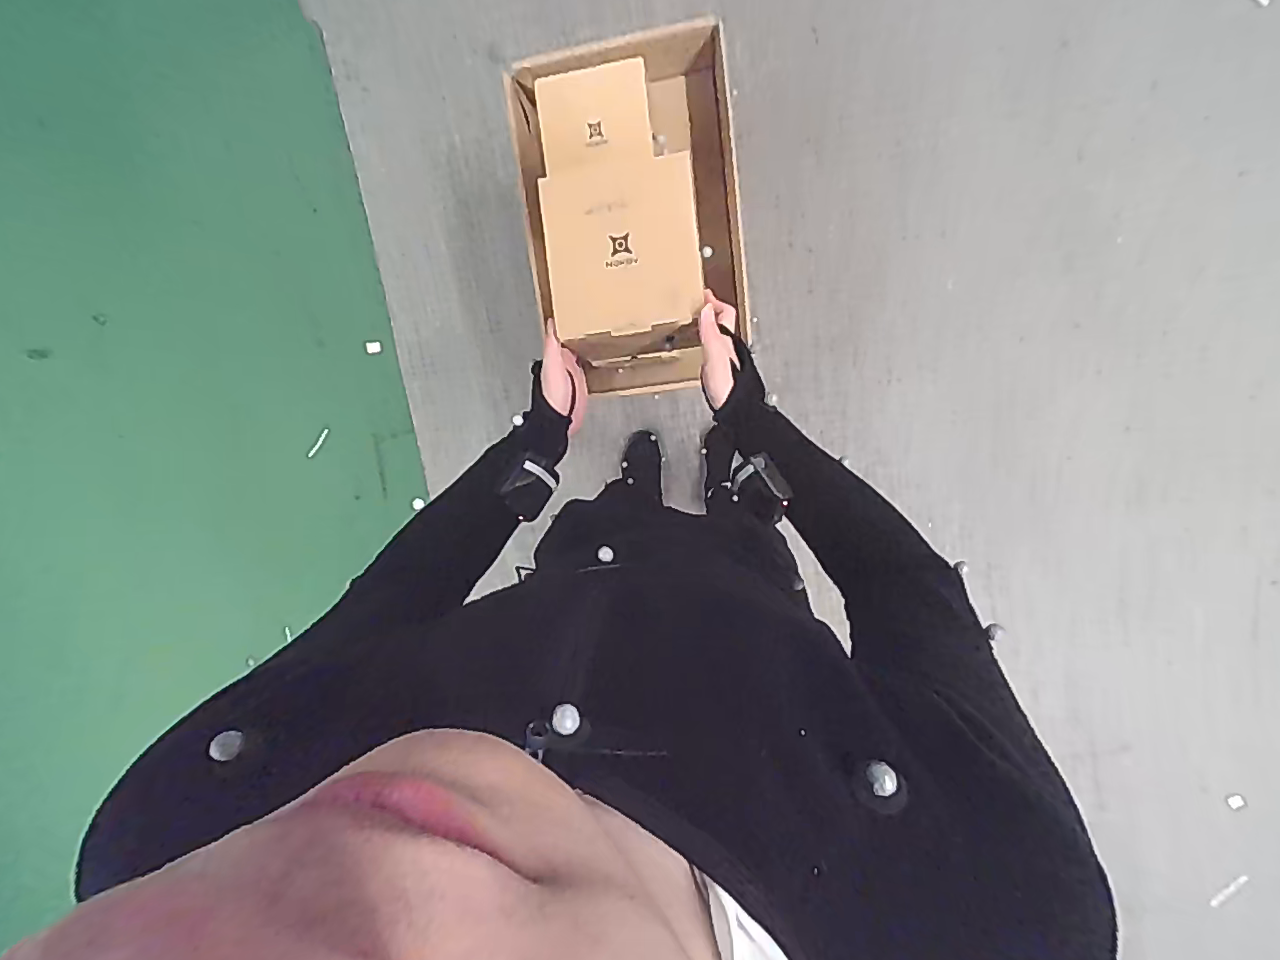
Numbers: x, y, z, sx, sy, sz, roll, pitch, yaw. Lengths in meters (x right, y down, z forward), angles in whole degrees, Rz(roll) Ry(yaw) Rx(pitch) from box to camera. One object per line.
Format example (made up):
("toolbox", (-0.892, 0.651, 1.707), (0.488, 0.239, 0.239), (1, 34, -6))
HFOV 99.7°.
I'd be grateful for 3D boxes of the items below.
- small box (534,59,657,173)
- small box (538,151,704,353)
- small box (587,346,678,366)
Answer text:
("small box", (-0.059, -0.526, 0.875), (0.168, 0.176, 0.179), (-6, 101, 8))
("small box", (-0.012, -0.253, 0.649), (0.168, 0.176, 0.179), (-5, 94, 7))
("small box", (-0.016, -0.321, 1.068), (0.168, 0.176, 0.179), (-5, 98, 8))
